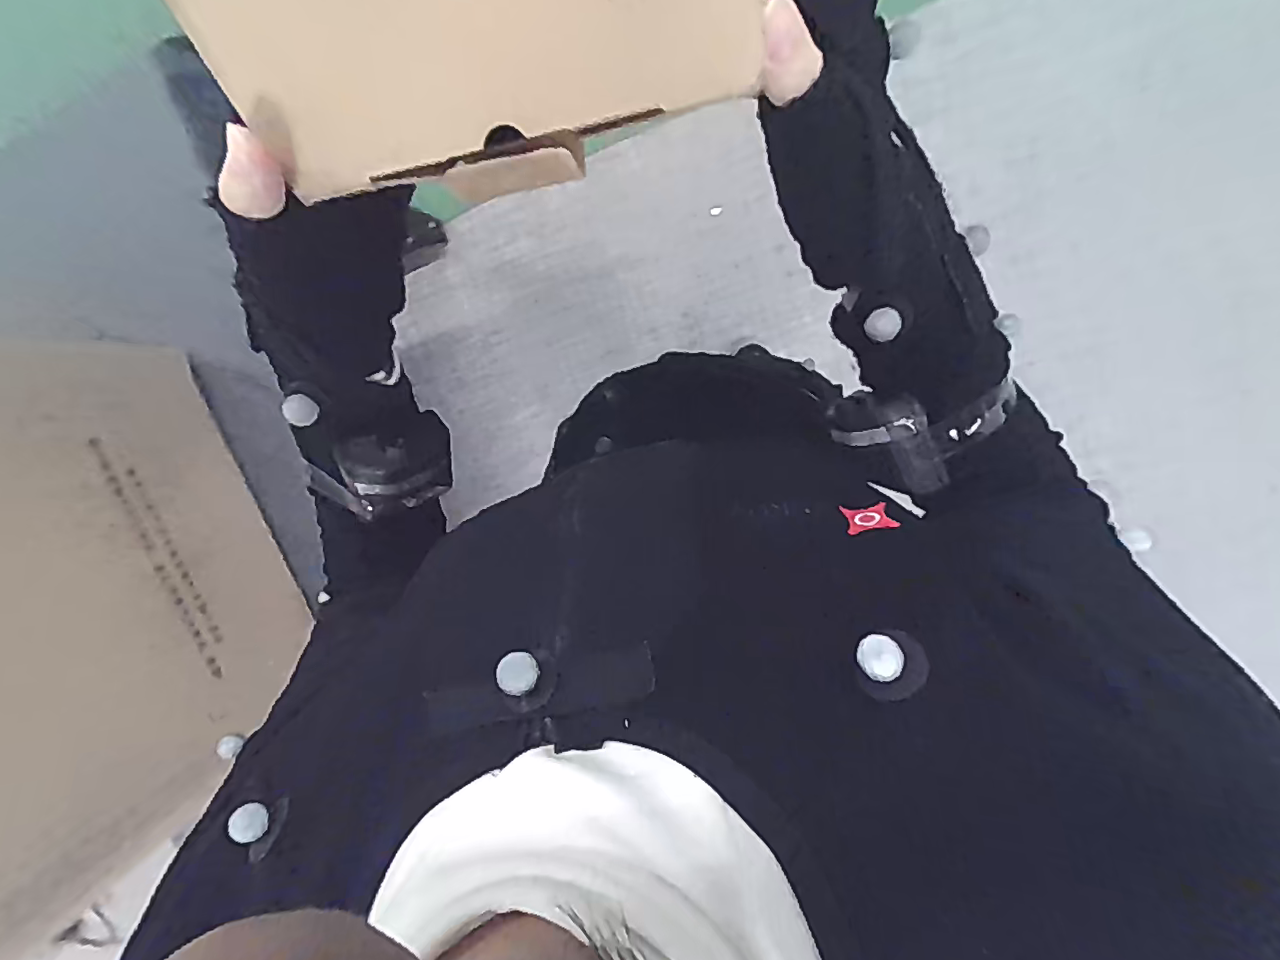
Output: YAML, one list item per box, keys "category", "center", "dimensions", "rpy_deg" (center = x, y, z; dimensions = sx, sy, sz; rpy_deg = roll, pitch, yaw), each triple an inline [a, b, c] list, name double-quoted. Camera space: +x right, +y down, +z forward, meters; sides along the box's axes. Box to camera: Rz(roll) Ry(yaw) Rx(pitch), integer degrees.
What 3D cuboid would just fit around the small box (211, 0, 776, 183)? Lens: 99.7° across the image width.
- category: "small box"
  center: [-0.047, -0.230, 0.175]
  dimensions: [0.168, 0.176, 0.179]
  rpy_deg: [-5, 135, 12]
